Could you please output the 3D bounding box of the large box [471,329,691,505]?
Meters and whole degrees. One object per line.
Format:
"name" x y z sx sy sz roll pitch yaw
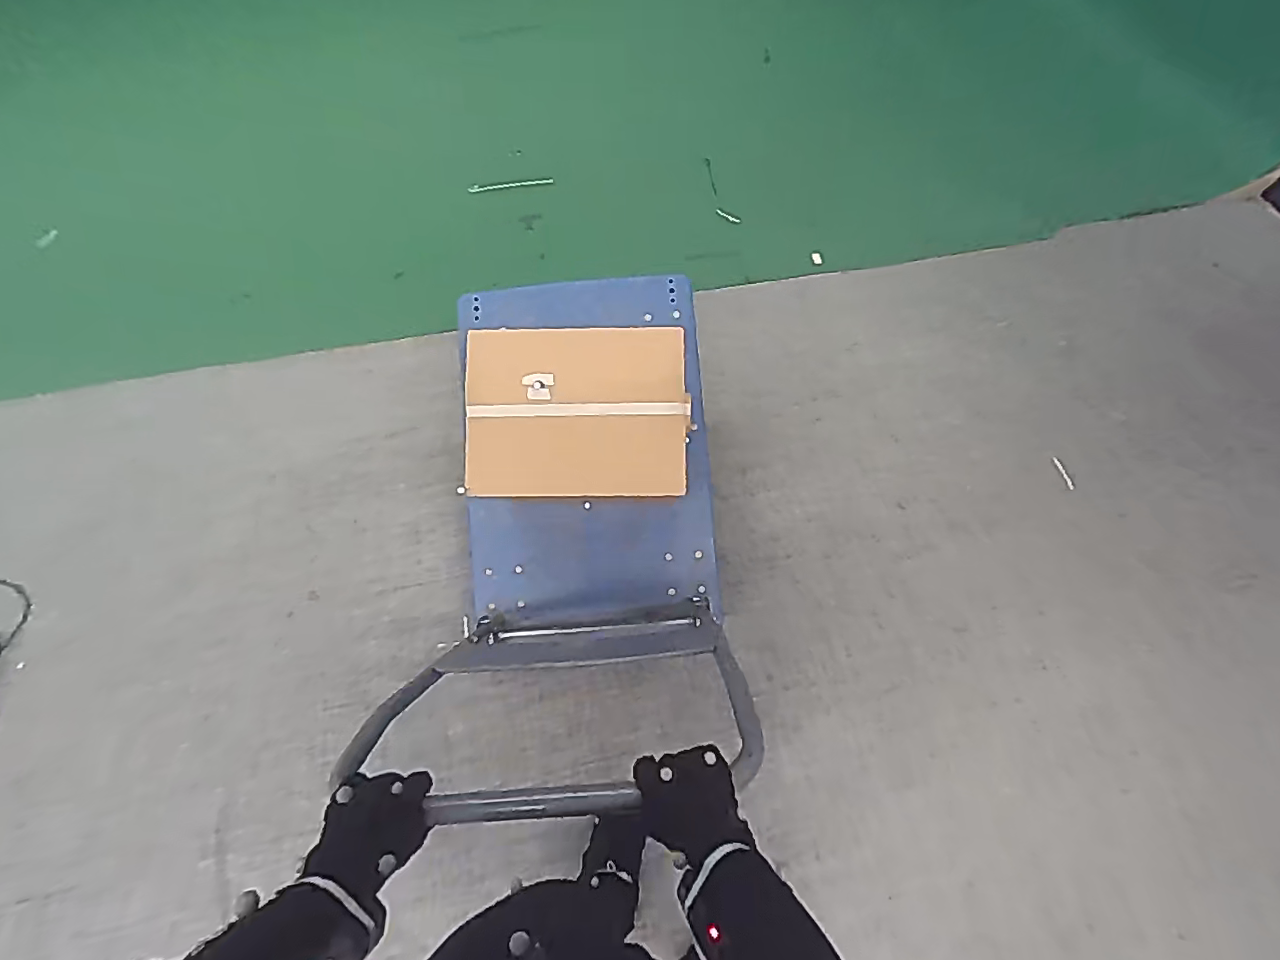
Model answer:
"large box" -0.103 -0.108 1.136 0.408 0.320 0.320 -1 85 3
